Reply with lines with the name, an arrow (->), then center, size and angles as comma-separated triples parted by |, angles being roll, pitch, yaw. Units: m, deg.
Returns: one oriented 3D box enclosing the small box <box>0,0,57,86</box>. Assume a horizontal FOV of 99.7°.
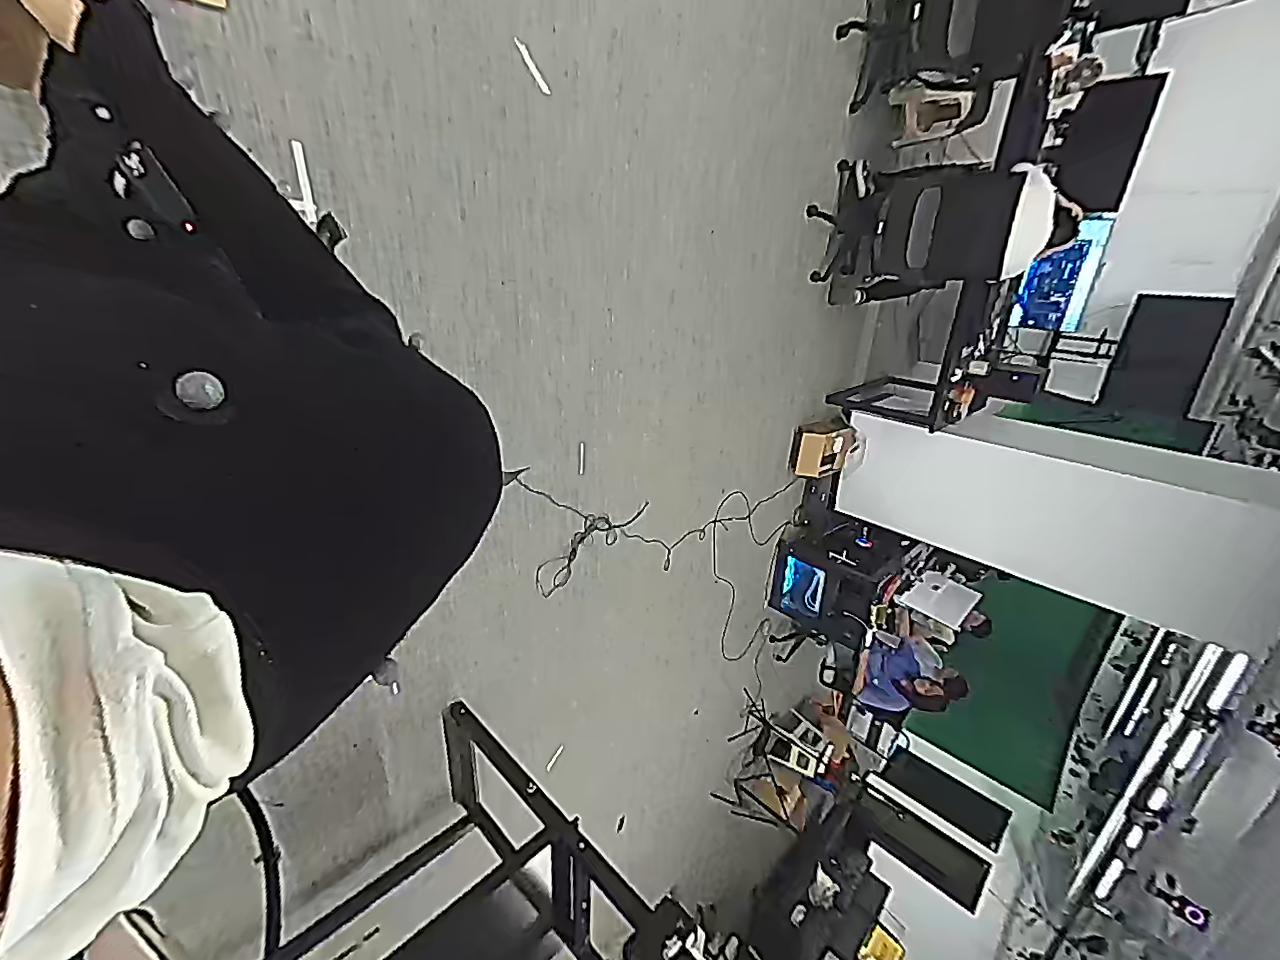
small box -> -0.561, -0.431, 0.381 | 0.168, 0.176, 0.179 | -18, 106, -50
